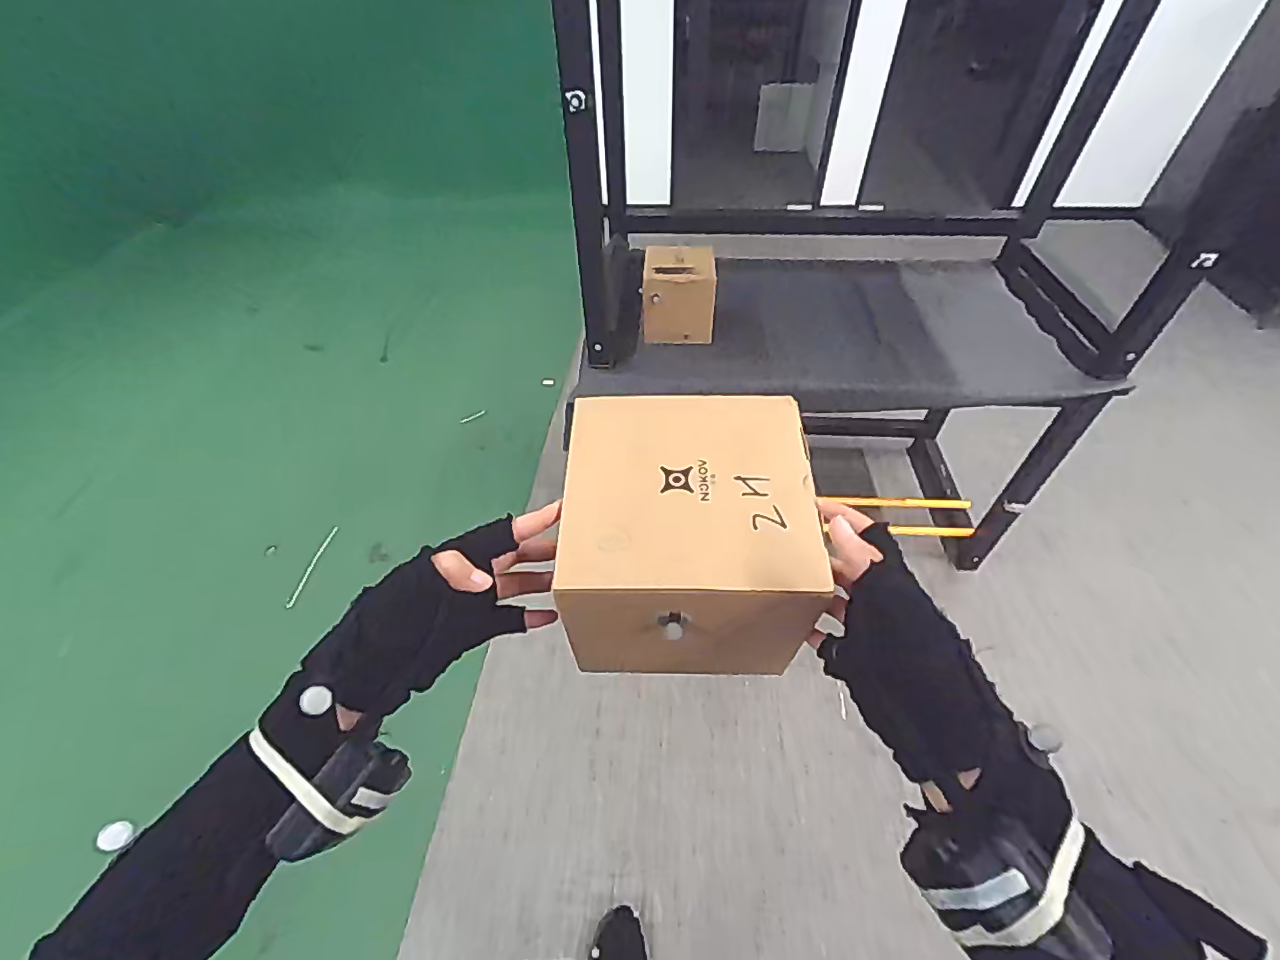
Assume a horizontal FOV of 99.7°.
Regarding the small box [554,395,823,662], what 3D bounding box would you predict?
[{"bbox_3d":[0.034,0.046,0.454,0.179,0.176,0.168,1,55,1],"label":"small box"}]
